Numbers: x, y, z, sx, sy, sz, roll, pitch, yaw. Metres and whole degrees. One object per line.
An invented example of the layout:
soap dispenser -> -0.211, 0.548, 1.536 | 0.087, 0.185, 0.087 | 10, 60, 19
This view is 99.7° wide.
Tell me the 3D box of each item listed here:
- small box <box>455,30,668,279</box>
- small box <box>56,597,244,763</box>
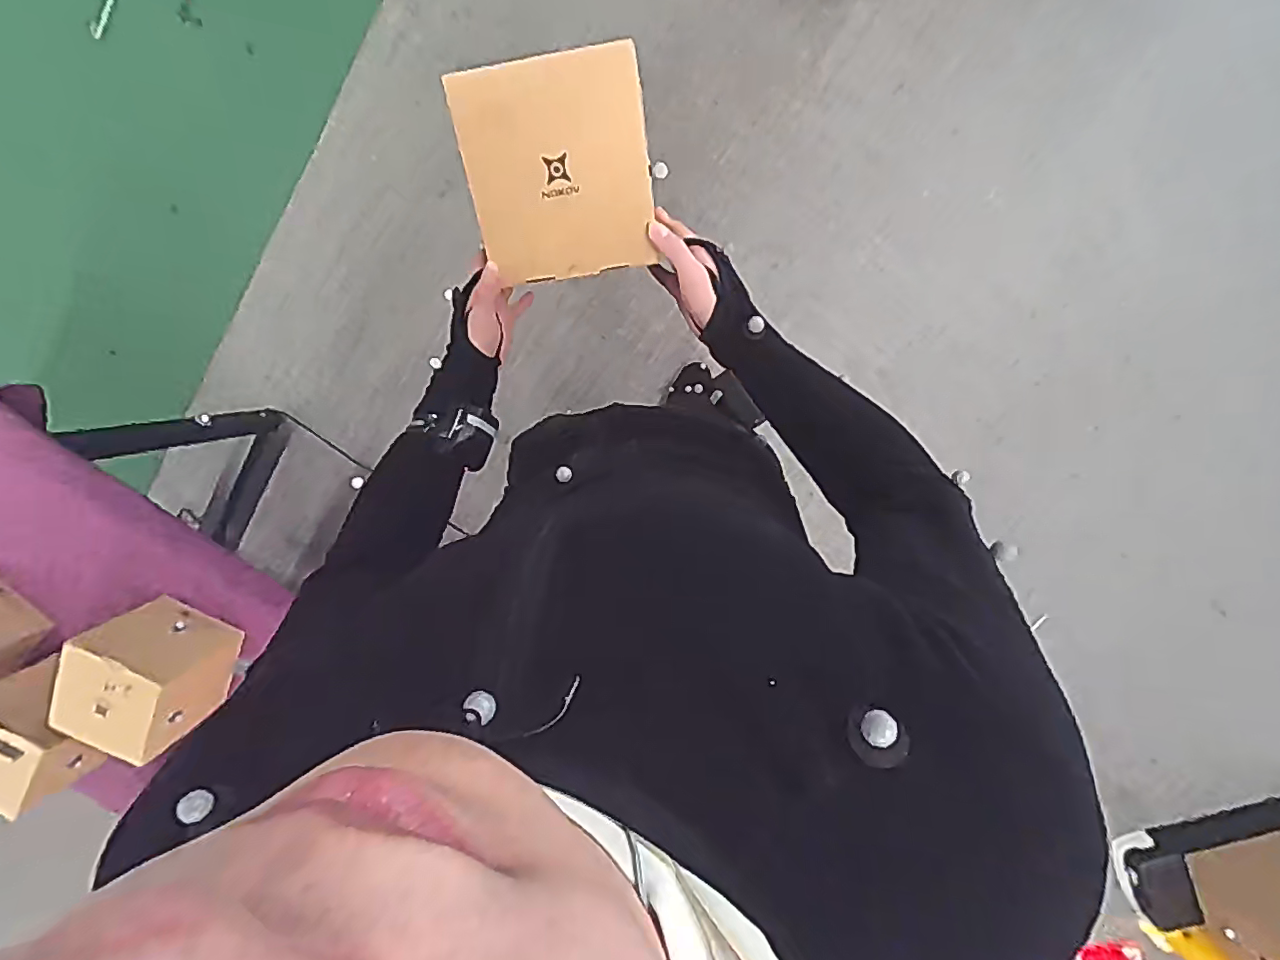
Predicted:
small box -> -0.065, -0.318, 0.554 | 0.168, 0.176, 0.179 | -7, 118, 4
small box -> -0.840, 0.338, 0.942 | 0.168, 0.176, 0.179 | 25, 104, -2
